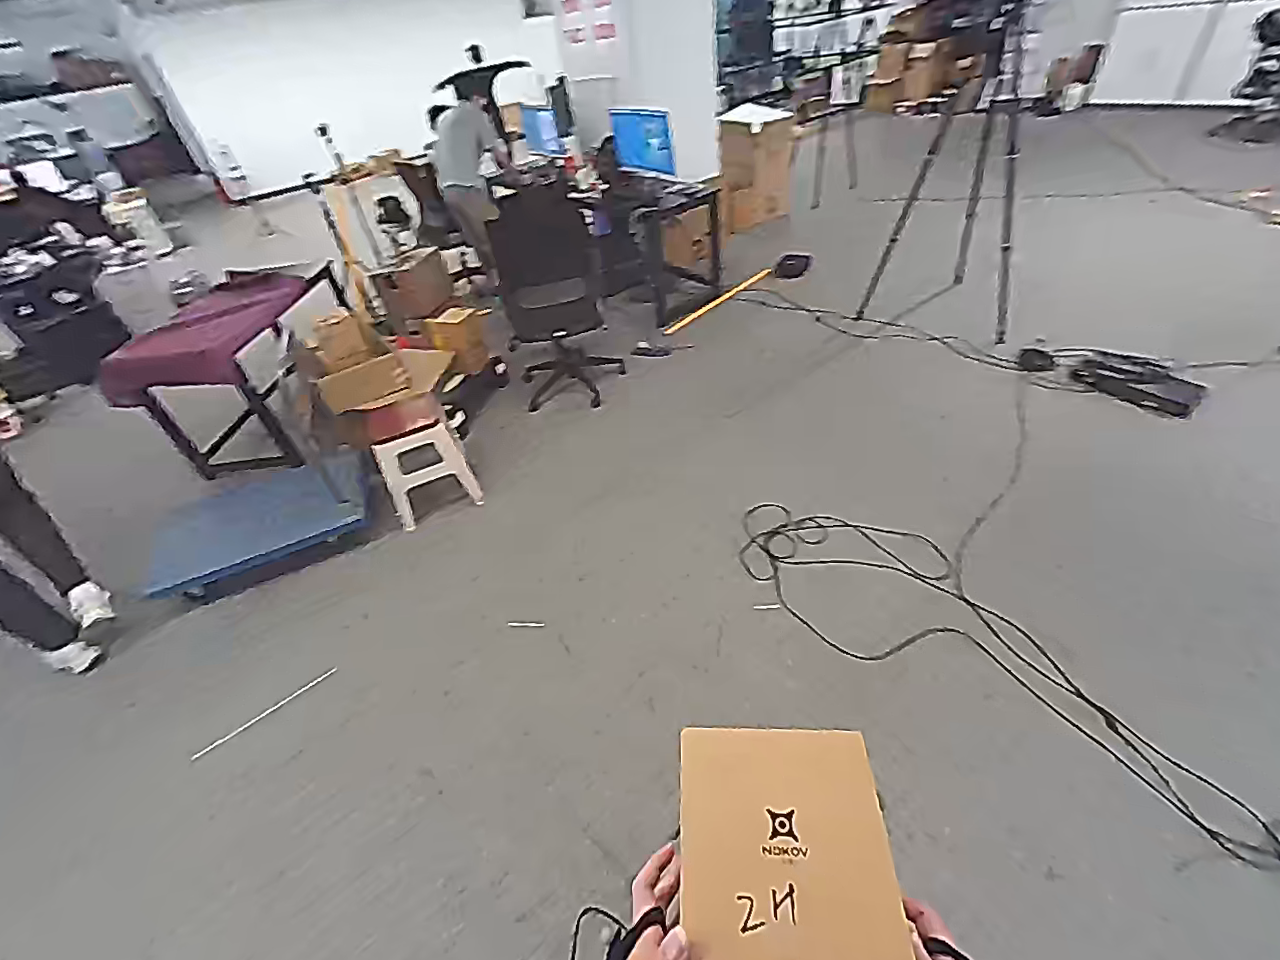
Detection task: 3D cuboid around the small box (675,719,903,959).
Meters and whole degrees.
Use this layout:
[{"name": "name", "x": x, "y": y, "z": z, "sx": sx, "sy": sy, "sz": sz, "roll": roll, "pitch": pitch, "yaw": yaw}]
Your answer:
[{"name": "small box", "x": 0.118, "y": 0.347, "z": 0.503, "sx": 0.168, "sy": 0.176, "sz": 0.179, "roll": -1, "pitch": 43, "yaw": 6}]
